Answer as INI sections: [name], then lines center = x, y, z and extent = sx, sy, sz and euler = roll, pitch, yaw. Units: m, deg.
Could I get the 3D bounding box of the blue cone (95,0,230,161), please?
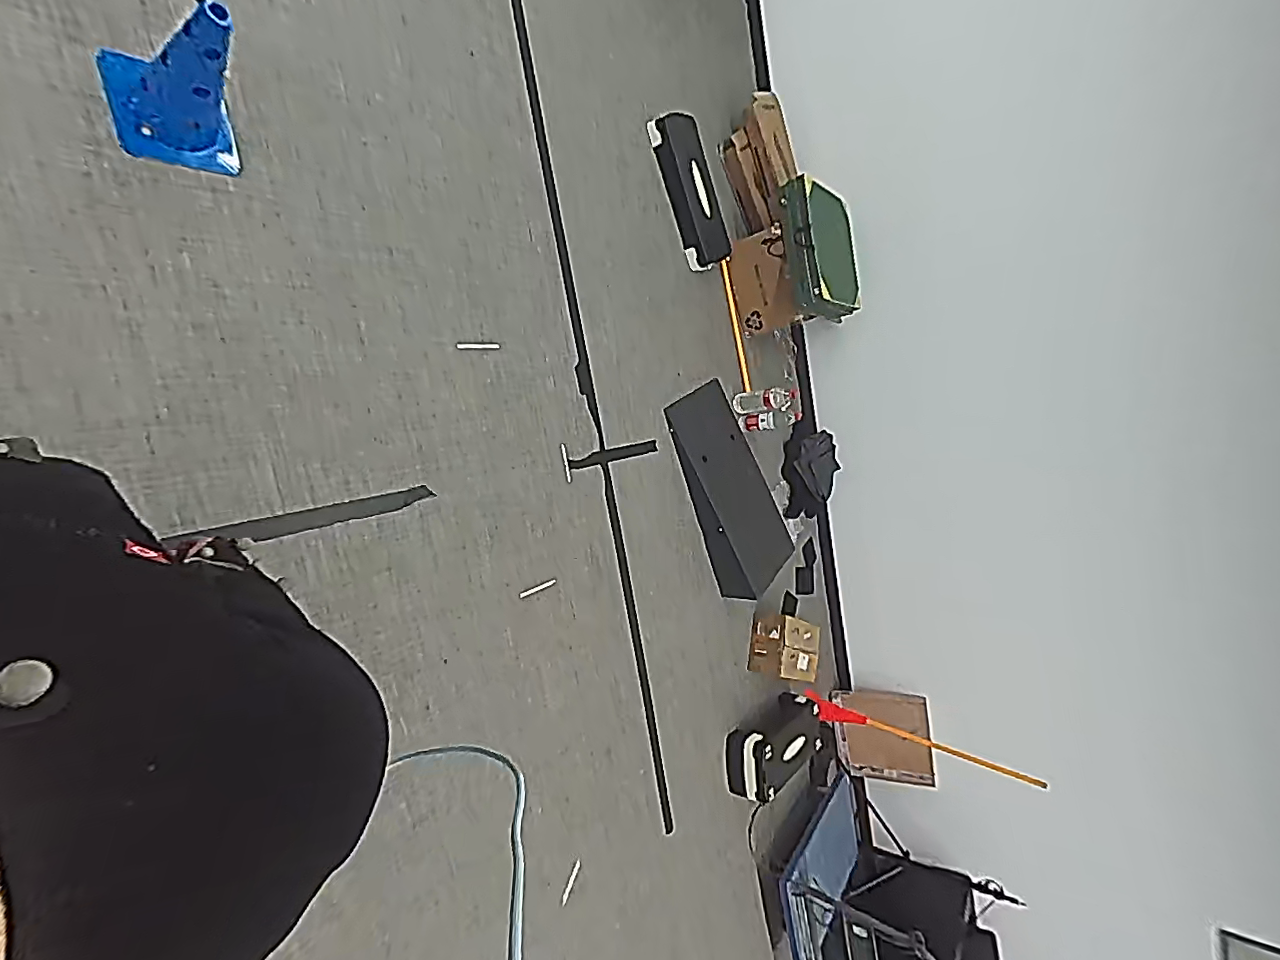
[blue cone]
center = -0.840, -0.774, 1.000
extent = 0.193, 0.380, 0.192
euler = -16, 98, -50
